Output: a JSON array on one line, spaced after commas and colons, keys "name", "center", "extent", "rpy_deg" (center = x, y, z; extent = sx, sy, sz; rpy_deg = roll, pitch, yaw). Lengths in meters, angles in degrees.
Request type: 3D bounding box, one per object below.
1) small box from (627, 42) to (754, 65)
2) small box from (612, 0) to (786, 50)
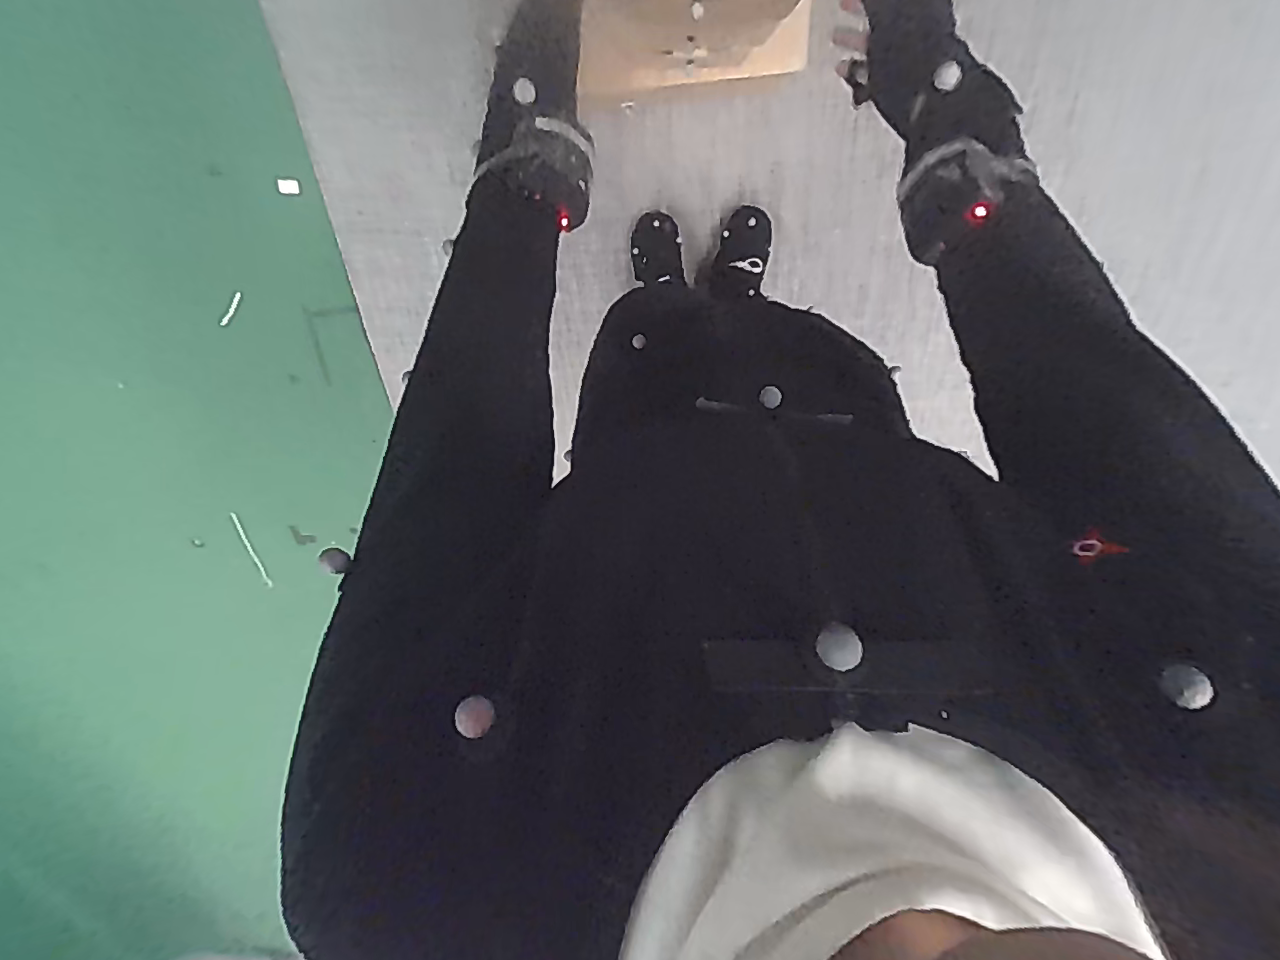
[{"name": "small box", "center": [0.070, -0.666, 0.716], "extent": [0.168, 0.176, 0.179], "rpy_deg": [1, 122, 5]}, {"name": "small box", "center": [0.064, -0.577, 0.578], "extent": [0.179, 0.176, 0.168], "rpy_deg": [2, 122, 7]}]
